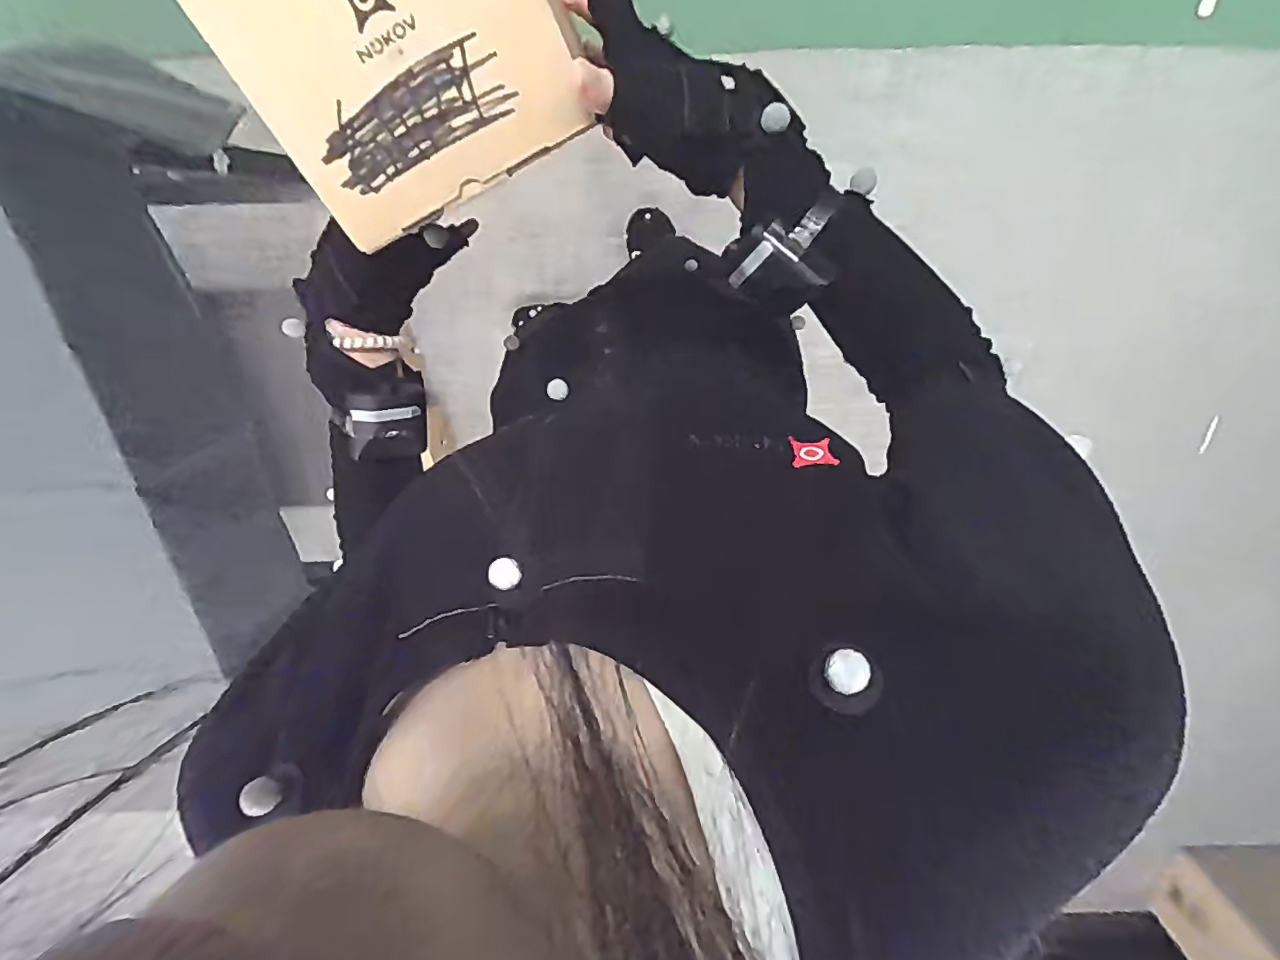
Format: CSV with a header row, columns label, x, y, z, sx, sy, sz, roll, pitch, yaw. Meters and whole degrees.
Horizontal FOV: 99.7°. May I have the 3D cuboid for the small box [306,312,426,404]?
label,x,y,z,sx,sy,sz,roll,pitch,yaw
small box,-0.664,-0.305,1.331,0.179,0.176,0.168,-11,116,6
